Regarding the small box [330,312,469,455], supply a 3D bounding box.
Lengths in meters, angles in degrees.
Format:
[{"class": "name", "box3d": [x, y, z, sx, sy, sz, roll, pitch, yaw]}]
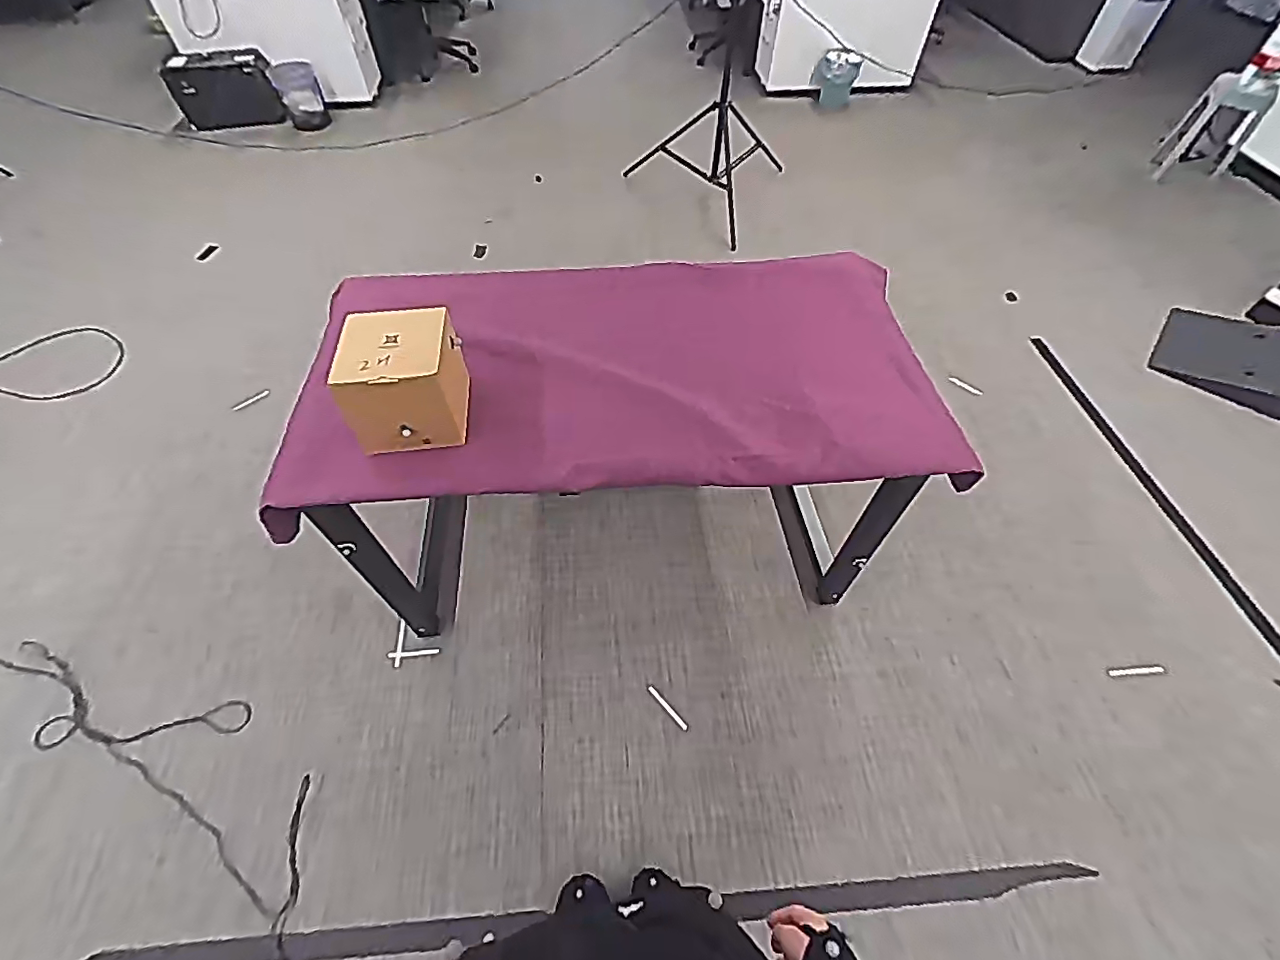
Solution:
[{"class": "small box", "box3d": [-0.403, -0.166, 0.941, 0.168, 0.176, 0.179, -6, 54, -5]}]
